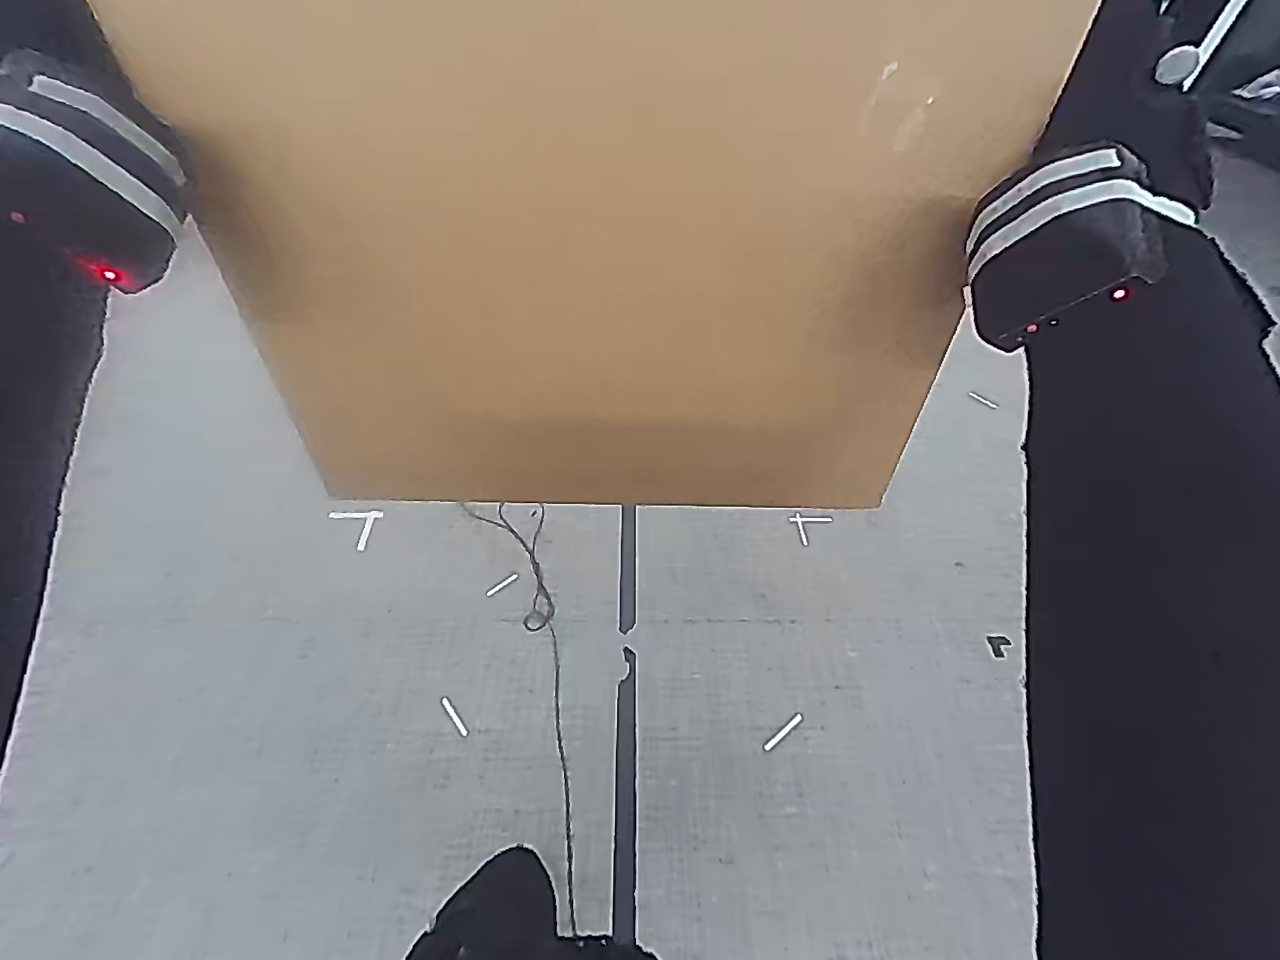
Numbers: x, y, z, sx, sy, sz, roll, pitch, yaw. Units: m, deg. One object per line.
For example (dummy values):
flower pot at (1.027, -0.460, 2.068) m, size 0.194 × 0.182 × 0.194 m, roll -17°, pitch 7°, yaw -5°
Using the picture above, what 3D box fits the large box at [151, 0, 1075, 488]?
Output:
large box at (-0.018, -0.205, 0.418) m, size 0.408 × 0.320 × 0.320 m, roll 2°, pitch 41°, yaw -2°
